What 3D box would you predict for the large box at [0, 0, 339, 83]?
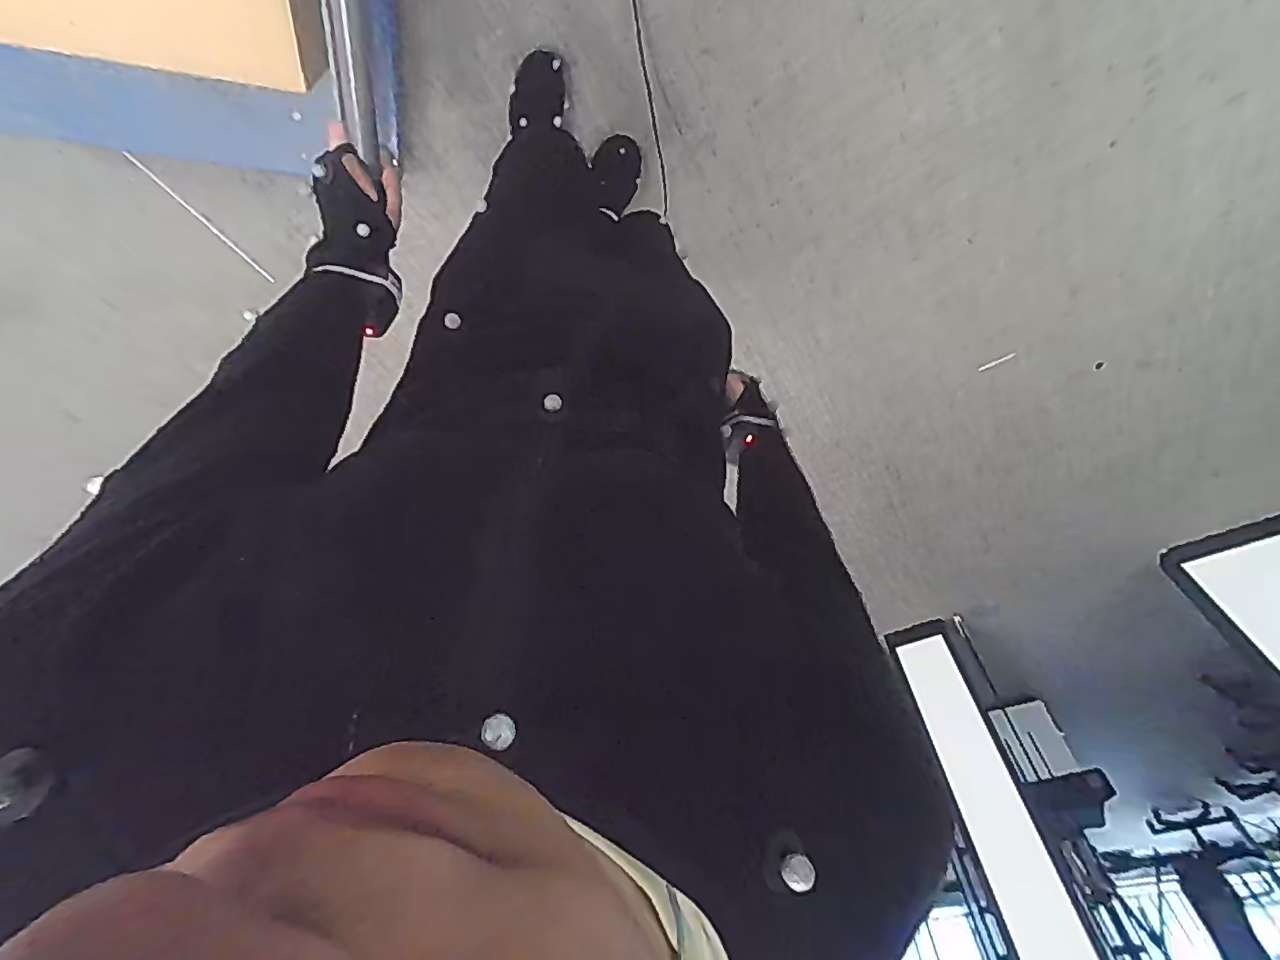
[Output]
[{"bbox_3d":[-0.687,-0.797,0.744,0.408,0.320,0.320,-1,135,-17],"label":"large box"}]
